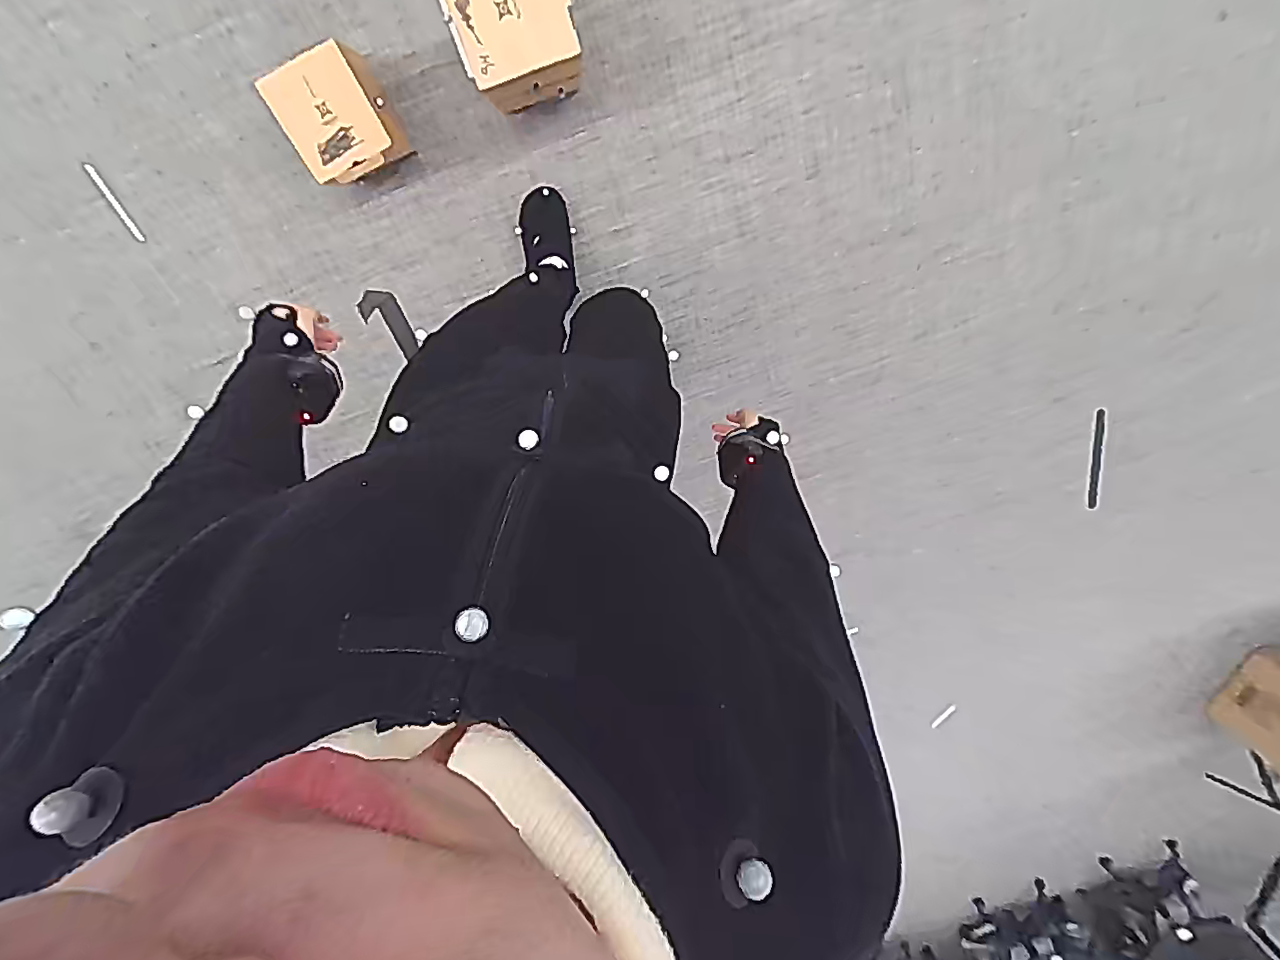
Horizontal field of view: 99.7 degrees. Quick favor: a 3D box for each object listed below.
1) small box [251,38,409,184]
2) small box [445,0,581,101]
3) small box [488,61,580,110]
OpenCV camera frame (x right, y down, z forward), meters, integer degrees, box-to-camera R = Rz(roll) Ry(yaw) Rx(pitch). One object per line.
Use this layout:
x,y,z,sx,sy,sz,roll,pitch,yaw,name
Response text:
-0.575,-0.693,1.035,0.168,0.176,0.179,-24,119,6,small box
-0.205,-0.740,0.869,0.179,0.176,0.168,-18,119,2,small box
-0.221,-0.818,1.013,0.179,0.176,0.168,-16,120,3,small box
